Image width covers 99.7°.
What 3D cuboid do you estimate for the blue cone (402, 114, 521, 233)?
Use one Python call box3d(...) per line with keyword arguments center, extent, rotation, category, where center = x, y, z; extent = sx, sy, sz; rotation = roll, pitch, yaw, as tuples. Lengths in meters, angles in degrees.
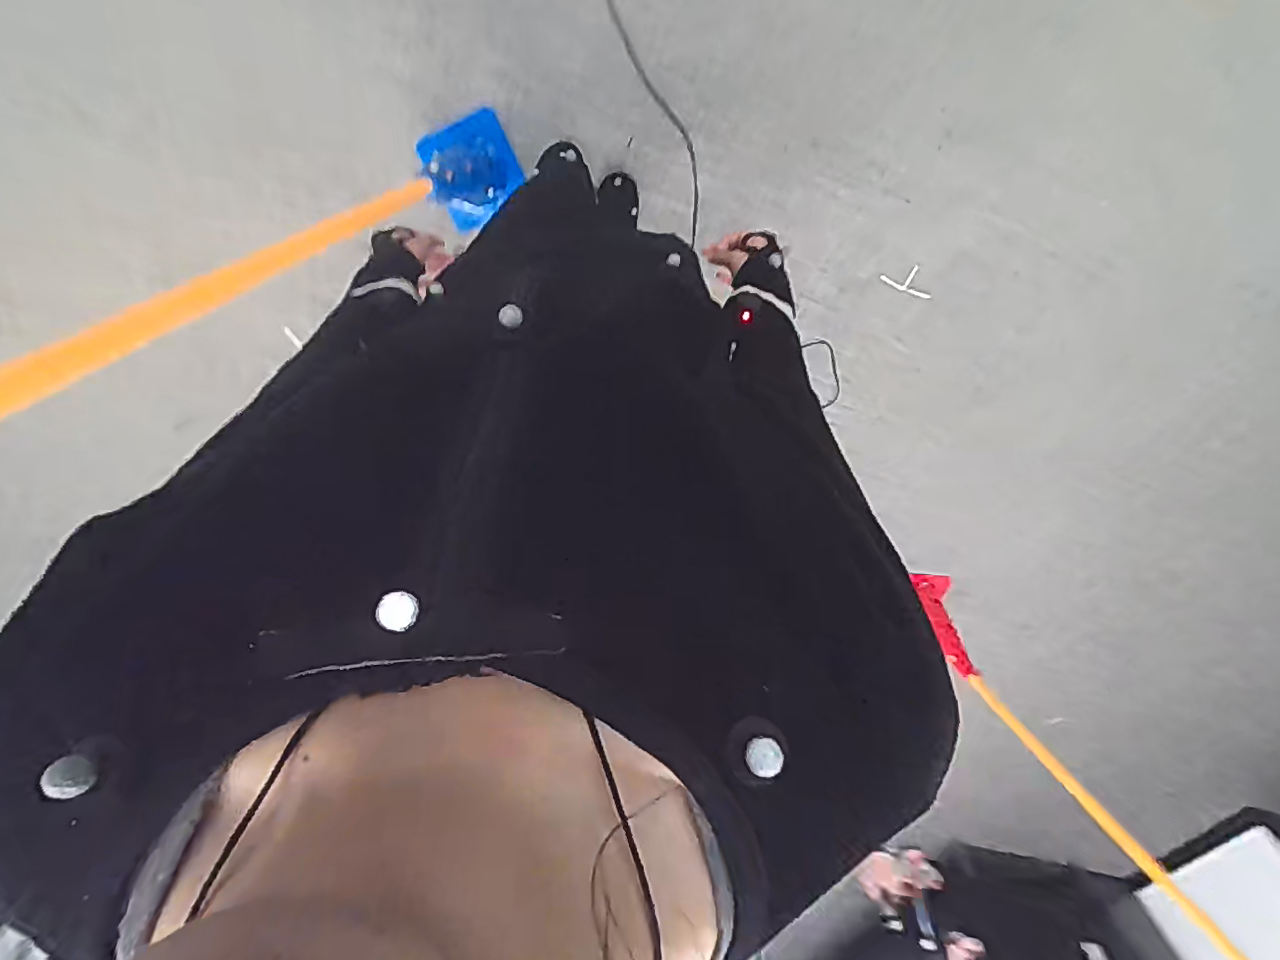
box3d(center=(-0.375, -0.573, 1.053), extent=(0.193, 0.380, 0.192), rotation=(-20, 121, 13), category="blue cone")
